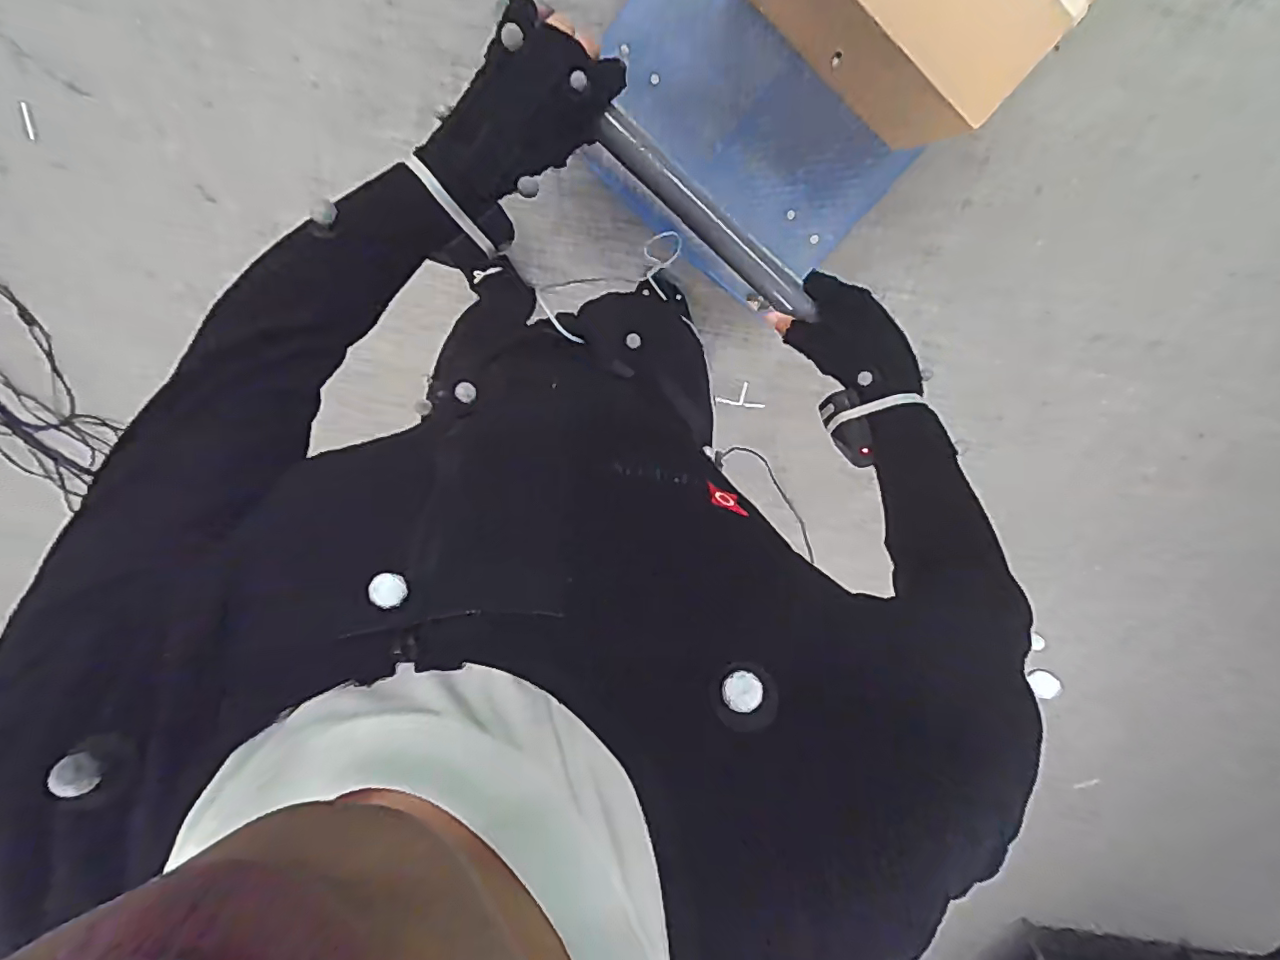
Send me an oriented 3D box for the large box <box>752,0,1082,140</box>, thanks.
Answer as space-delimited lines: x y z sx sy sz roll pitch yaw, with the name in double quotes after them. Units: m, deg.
0.407 -0.778 0.782 0.408 0.320 0.320 34 113 -14 "large box"
